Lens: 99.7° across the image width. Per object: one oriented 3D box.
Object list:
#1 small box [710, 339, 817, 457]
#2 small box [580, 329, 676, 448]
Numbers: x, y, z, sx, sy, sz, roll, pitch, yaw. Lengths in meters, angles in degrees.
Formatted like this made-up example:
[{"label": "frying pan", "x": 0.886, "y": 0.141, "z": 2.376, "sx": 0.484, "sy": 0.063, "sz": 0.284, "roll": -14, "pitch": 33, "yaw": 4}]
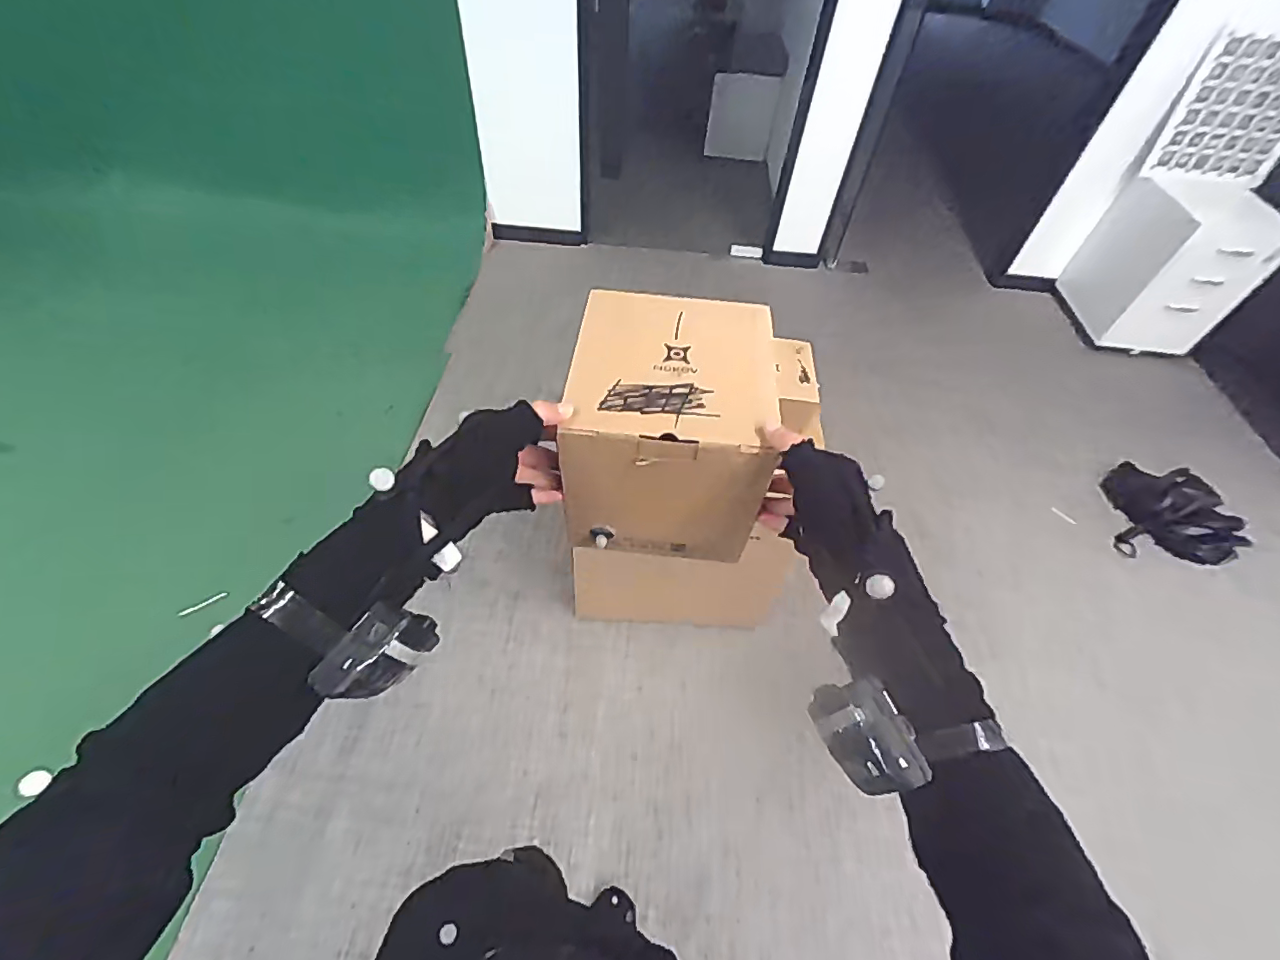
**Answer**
[{"label": "small box", "x": 0.238, "y": -0.162, "z": 1.091, "sx": 0.179, "sy": 0.176, "sz": 0.168, "roll": 5, "pitch": 55, "yaw": 0}, {"label": "small box", "x": -0.023, "y": -0.179, "z": 1.086, "sx": 0.179, "sy": 0.176, "sz": 0.168, "roll": 2, "pitch": 54, "yaw": -1}]
